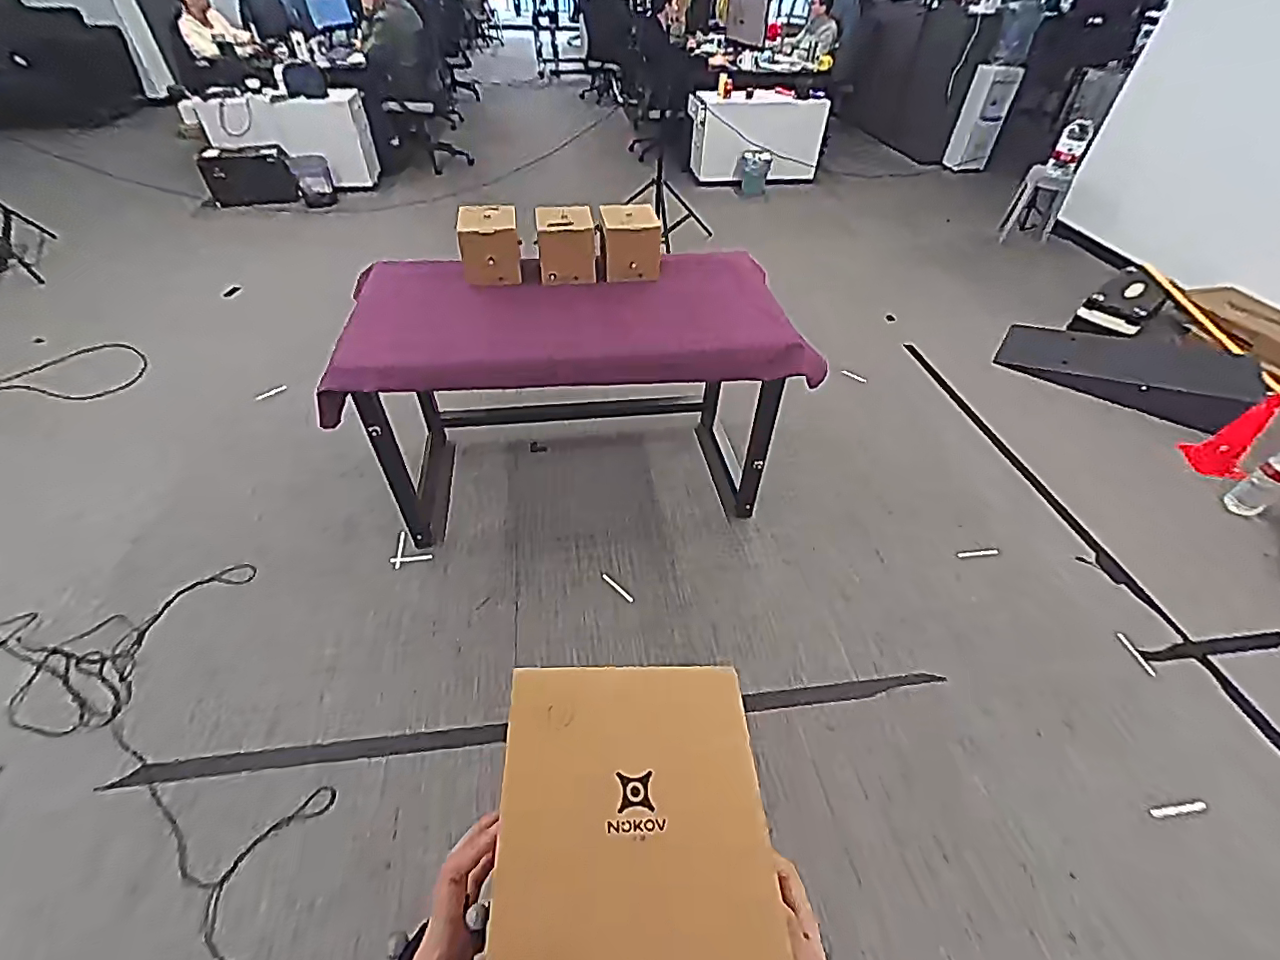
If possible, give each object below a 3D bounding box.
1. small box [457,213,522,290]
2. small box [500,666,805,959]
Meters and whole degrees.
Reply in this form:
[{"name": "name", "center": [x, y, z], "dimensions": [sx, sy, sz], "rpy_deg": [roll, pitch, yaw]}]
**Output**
[{"name": "small box", "center": [-0.452, -0.690, 1.644], "dimensions": [0.168, 0.176, 0.179], "rpy_deg": [-6, 48, -8]}, {"name": "small box", "center": [-0.008, 0.256, 0.393], "dimensions": [0.168, 0.176, 0.179], "rpy_deg": [2, 45, -9]}]
